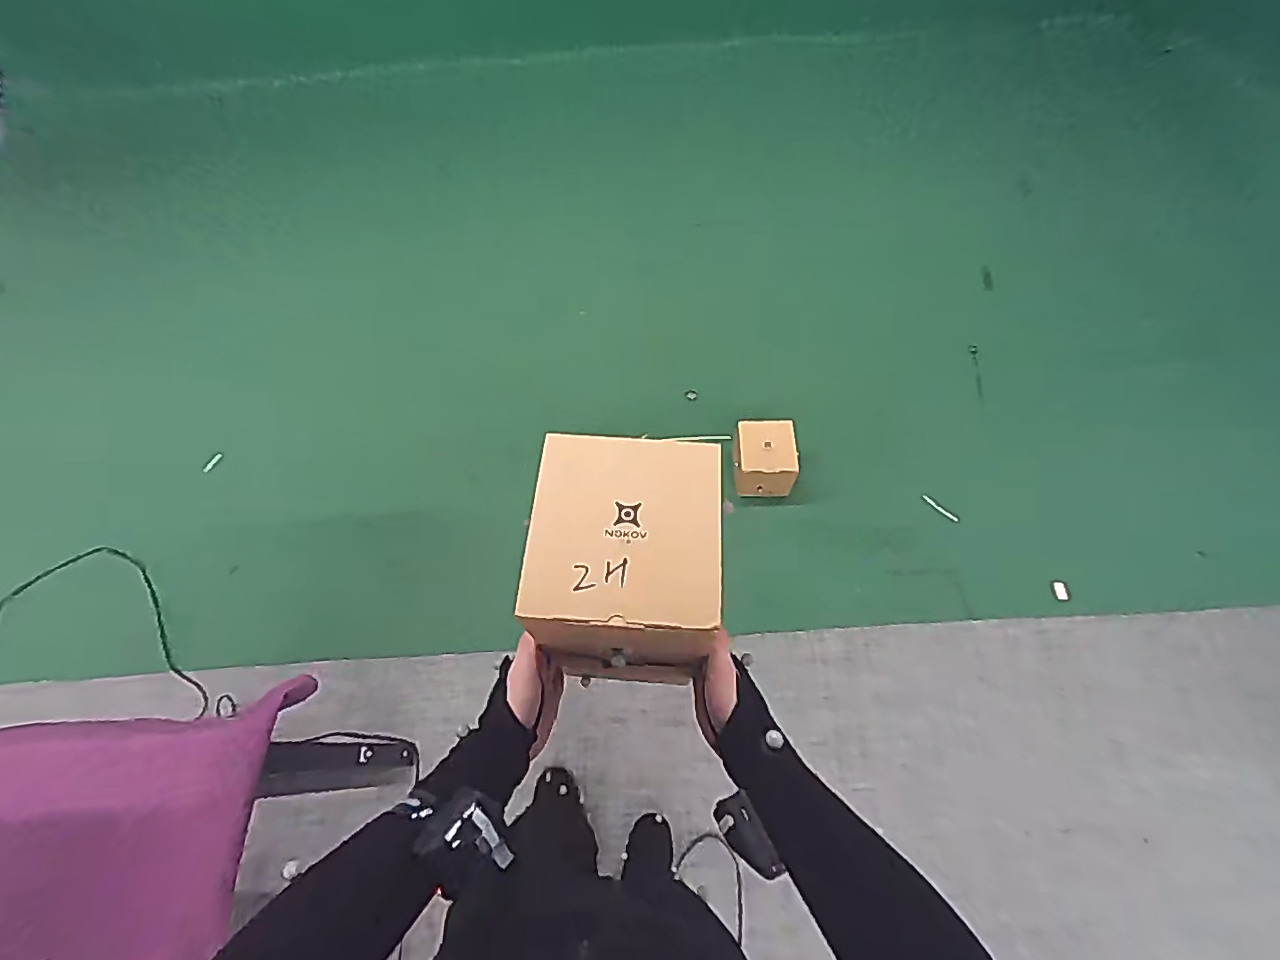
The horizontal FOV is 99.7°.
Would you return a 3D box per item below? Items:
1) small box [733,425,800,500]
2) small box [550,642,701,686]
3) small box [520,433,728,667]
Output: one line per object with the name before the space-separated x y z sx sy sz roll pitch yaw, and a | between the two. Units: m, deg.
small box | 0.382 -0.052 1.662 0.168 0.176 0.179 -1 64 2
small box | -0.007 0.154 0.678 0.168 0.176 0.179 4 62 2
small box | -0.009 0.075 0.534 0.168 0.176 0.179 4 63 2
